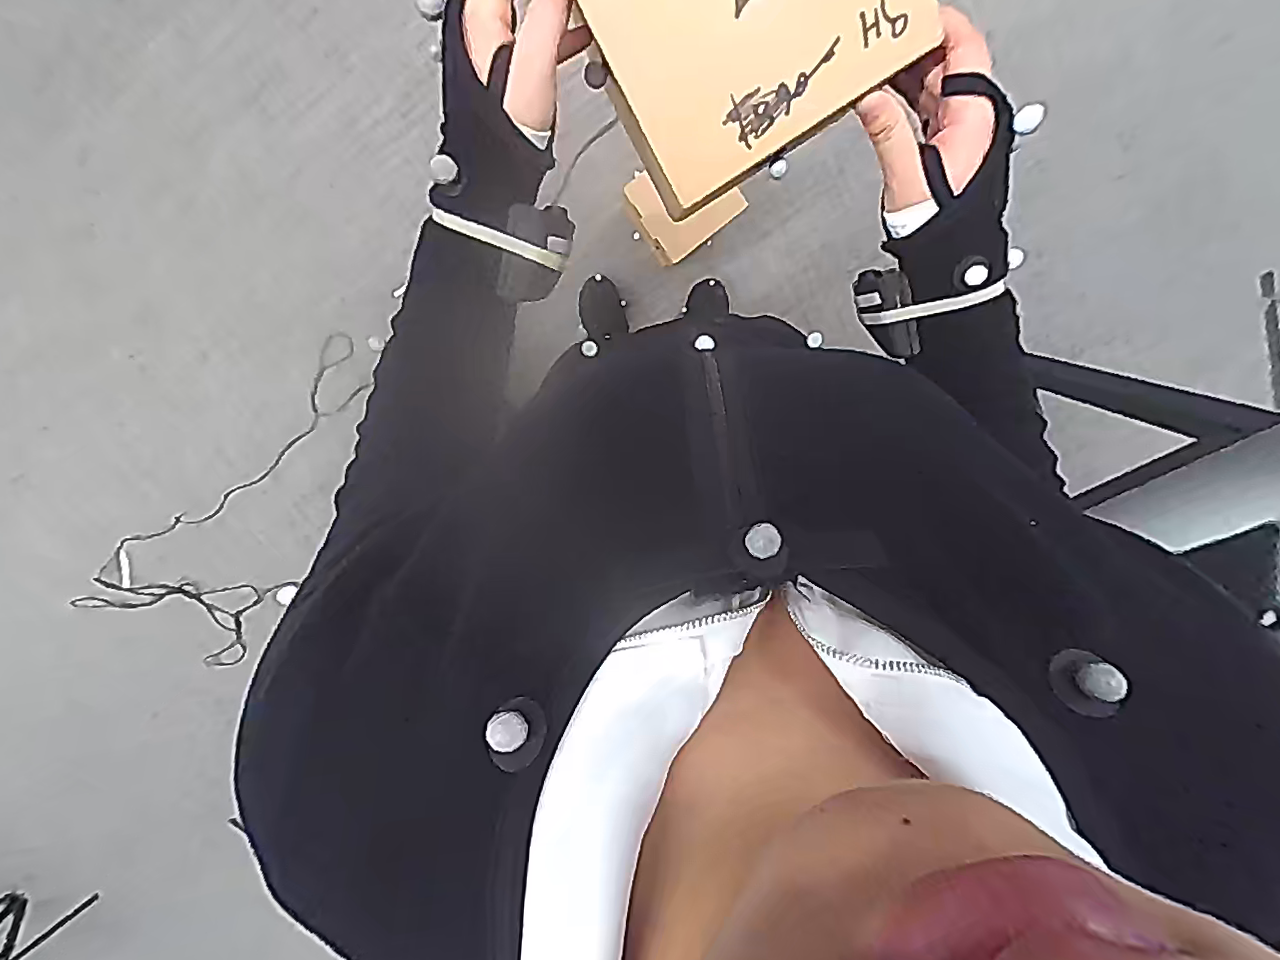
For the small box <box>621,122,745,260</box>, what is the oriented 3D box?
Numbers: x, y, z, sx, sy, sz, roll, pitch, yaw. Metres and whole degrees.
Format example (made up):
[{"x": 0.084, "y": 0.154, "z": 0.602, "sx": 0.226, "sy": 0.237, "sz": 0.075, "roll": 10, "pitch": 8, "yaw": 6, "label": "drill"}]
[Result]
[{"x": 0.079, "y": -0.557, "z": 1.072, "sx": 0.179, "sy": 0.176, "sz": 0.168, "roll": -36, "pitch": 109, "yaw": 11, "label": "small box"}]

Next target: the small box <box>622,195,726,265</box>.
[{"x": 0.073, "y": -0.612, "z": 1.224, "sx": 0.179, "sy": 0.176, "sz": 0.168, "roll": -32, "pitch": 109, "yaw": 12, "label": "small box"}]
